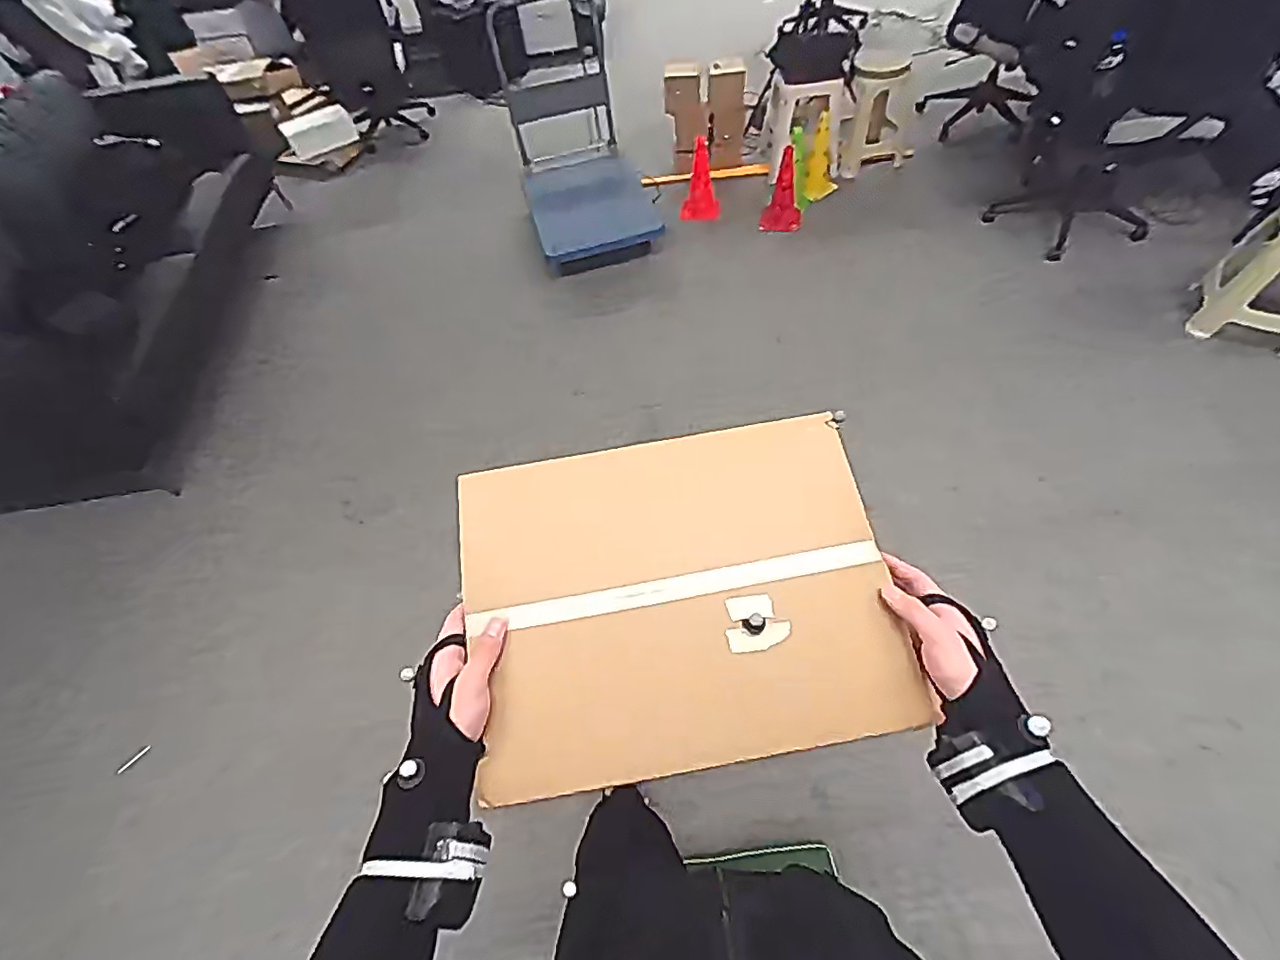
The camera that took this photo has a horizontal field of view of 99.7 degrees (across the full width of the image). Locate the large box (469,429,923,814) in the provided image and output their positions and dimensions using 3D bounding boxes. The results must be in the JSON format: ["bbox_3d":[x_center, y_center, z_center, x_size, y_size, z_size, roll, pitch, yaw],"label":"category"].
[{"bbox_3d":[0.040,0.174,0.671,0.408,0.320,0.320,-10,69,-2],"label":"large box"}]
